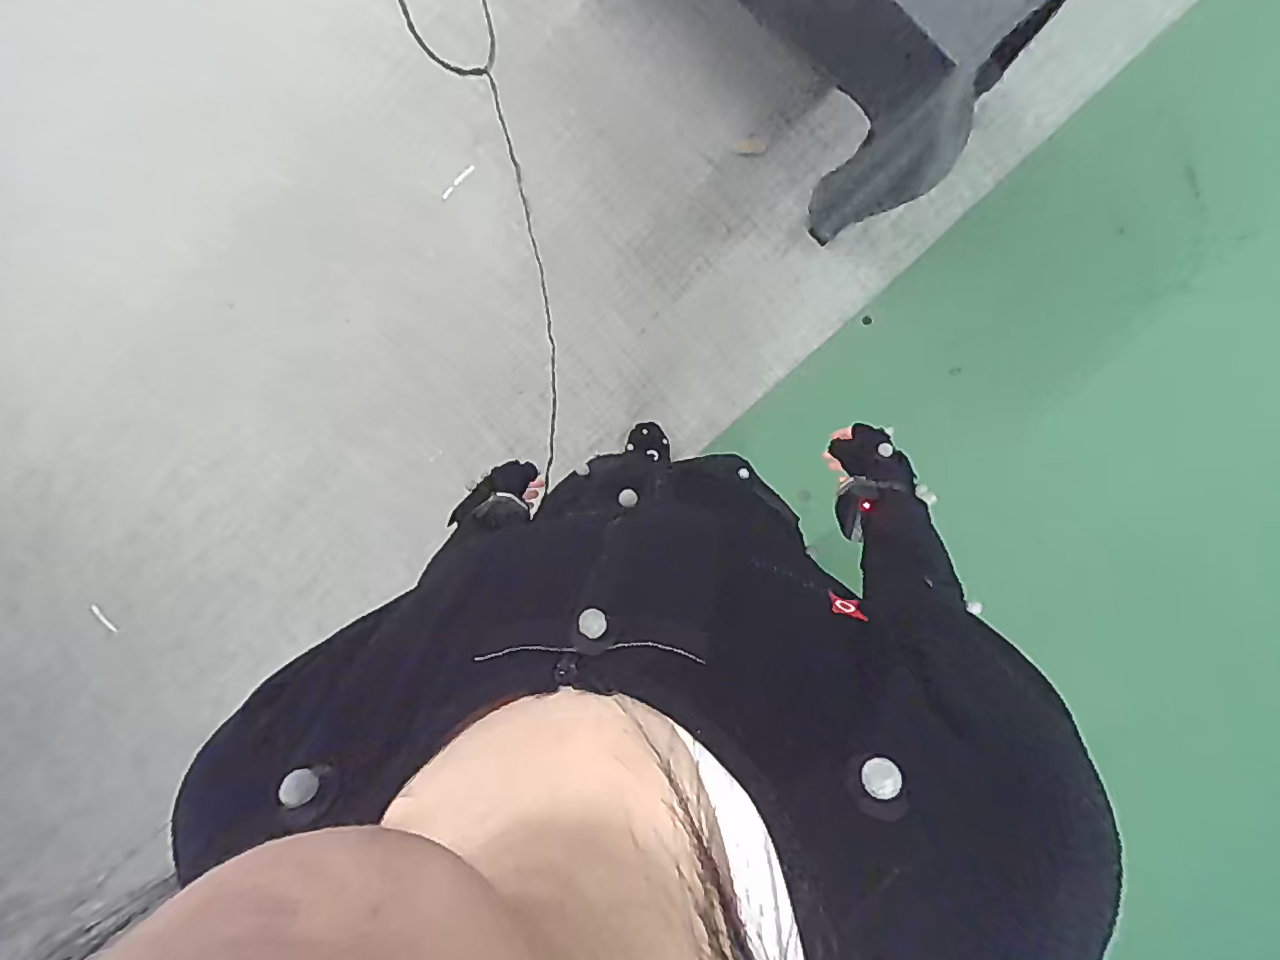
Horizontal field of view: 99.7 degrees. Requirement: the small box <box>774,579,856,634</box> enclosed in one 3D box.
[{"bbox_3d":[0.468,0.376,1.399,0.168,0.176,0.179,-37,91,7],"label":"small box"}]
